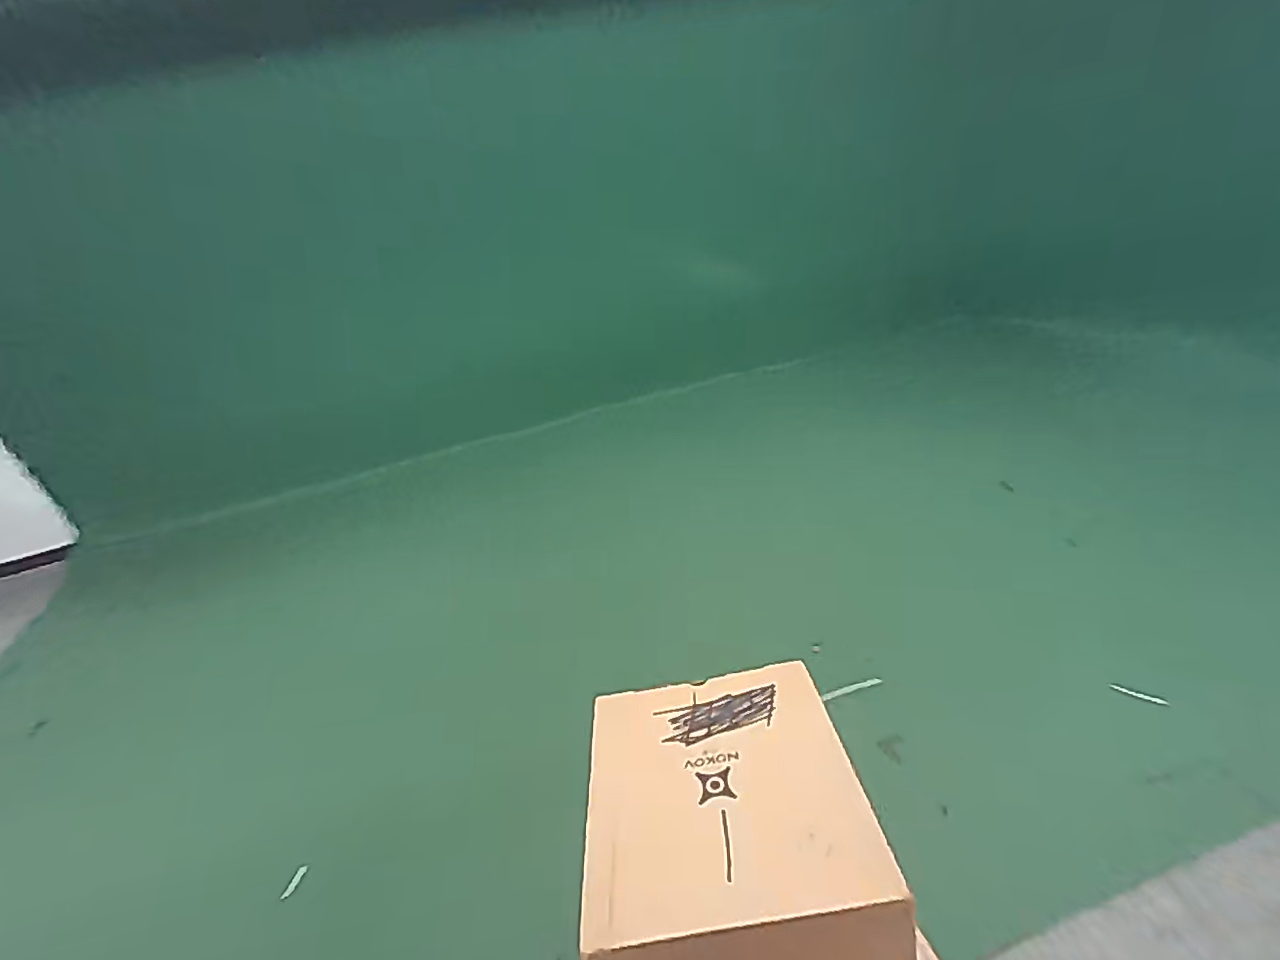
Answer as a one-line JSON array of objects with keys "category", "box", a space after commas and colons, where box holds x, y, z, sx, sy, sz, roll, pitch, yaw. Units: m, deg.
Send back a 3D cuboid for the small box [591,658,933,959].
[{"category": "small box", "box": [0.071, 0.254, 0.362, 0.168, 0.176, 0.179, -12, 20, 3]}]
